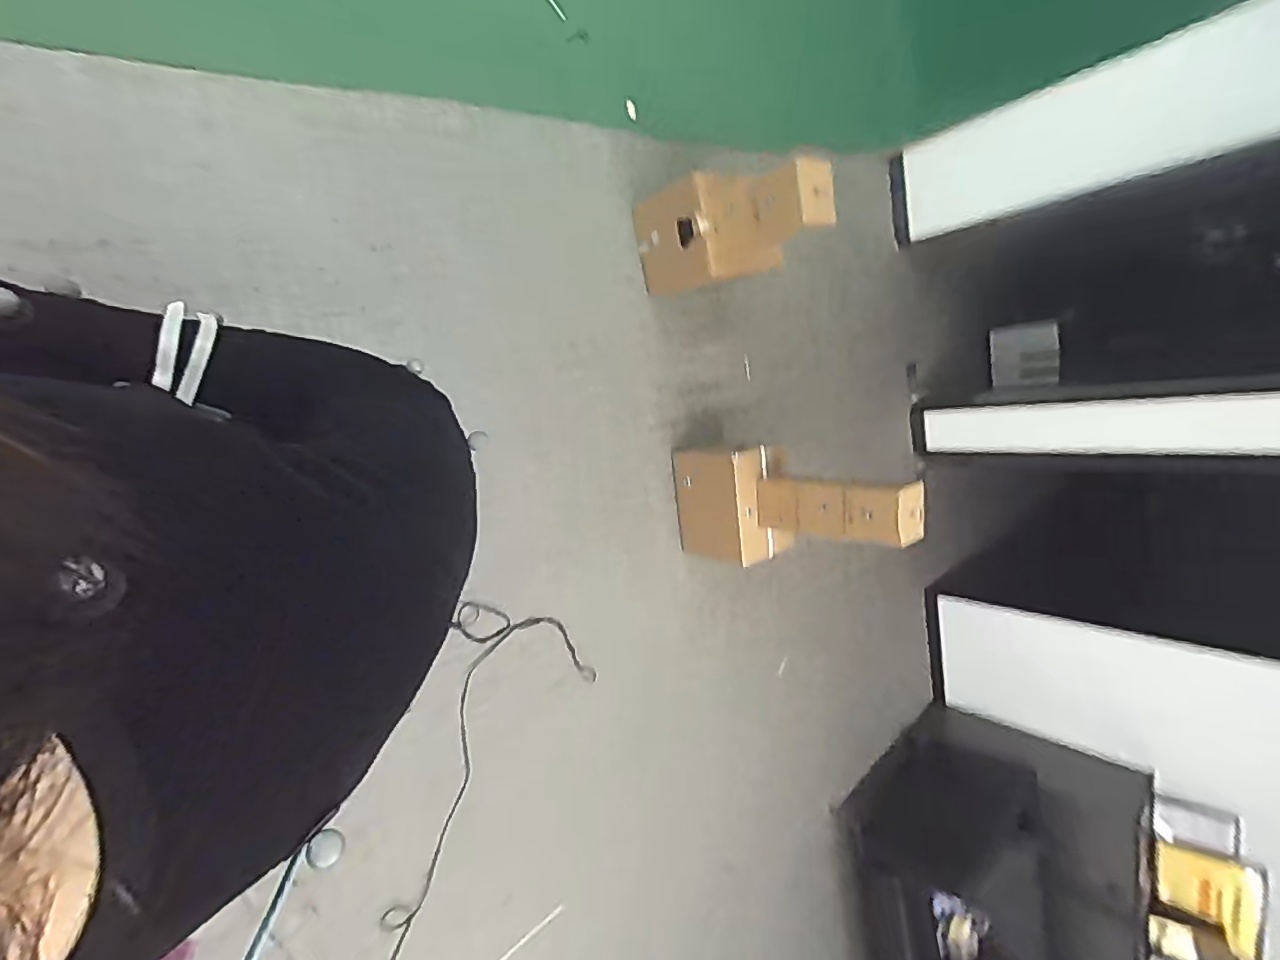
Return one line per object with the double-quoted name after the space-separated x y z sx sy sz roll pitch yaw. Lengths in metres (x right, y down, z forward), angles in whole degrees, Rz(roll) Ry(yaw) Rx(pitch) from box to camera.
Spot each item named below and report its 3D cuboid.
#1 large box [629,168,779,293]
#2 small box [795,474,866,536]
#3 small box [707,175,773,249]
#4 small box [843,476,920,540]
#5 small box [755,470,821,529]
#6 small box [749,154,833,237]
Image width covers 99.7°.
0.230 -0.874 1.916 0.408 0.320 0.320 -23 107 -37 "large box"
0.628 0.076 1.781 0.168 0.176 0.179 -9 98 -41 "small box"
0.322 -0.825 1.679 0.179 0.176 0.168 -20 106 -38 "small box"
0.738 0.081 1.659 0.179 0.176 0.168 -10 100 -40 "small box"
0.523 0.064 1.906 0.168 0.176 0.179 -10 99 -41 "small box"
0.427 -0.807 1.552 0.179 0.176 0.168 -20 106 -38 "small box"
